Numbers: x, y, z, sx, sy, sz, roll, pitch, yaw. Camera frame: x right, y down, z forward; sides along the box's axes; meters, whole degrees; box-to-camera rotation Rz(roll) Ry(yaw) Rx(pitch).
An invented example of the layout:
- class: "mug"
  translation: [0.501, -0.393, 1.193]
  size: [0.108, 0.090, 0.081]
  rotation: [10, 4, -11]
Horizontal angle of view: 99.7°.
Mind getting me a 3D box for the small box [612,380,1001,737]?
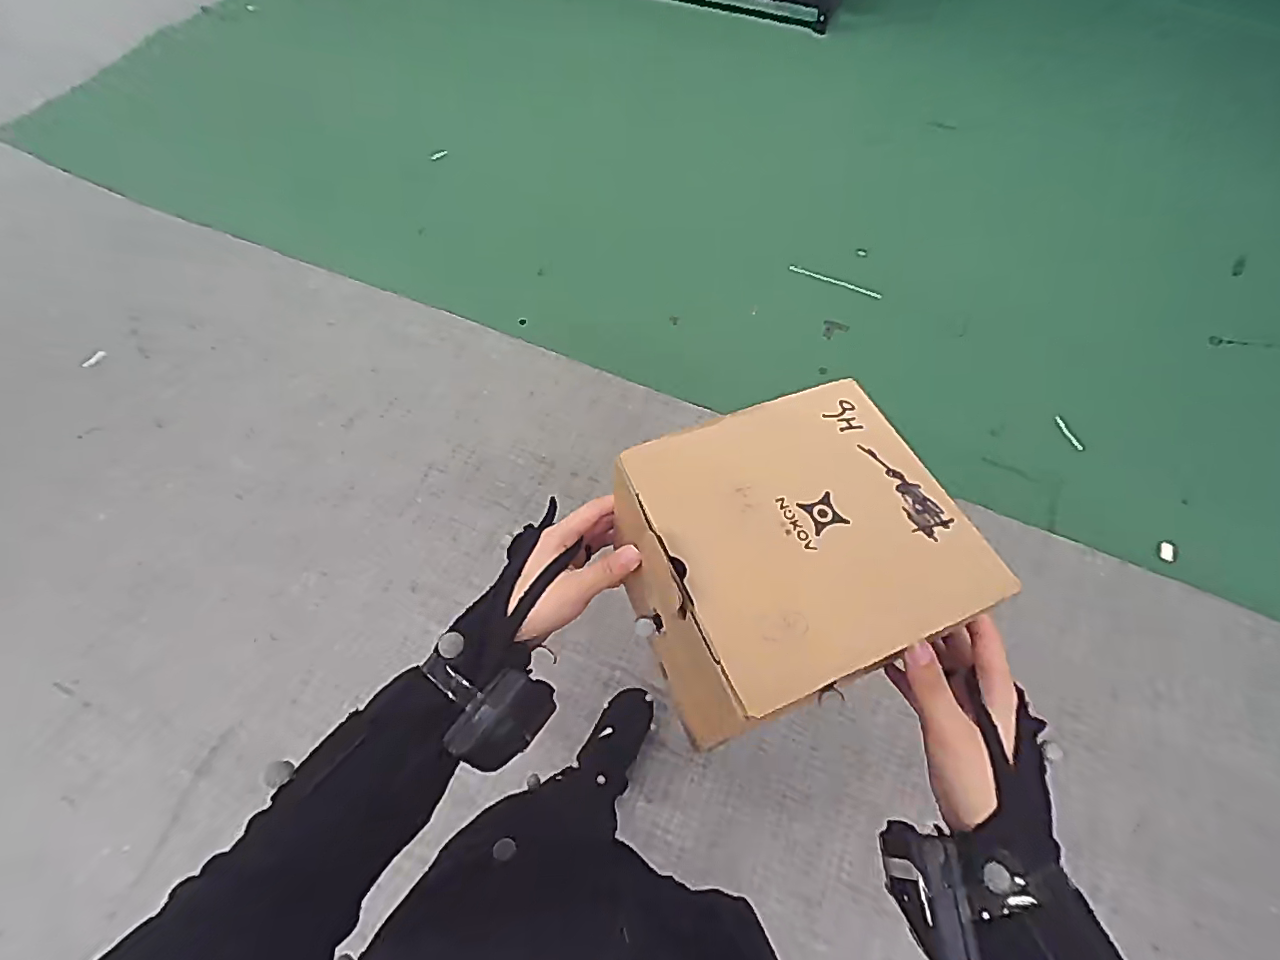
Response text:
- class: "small box"
  translation: [0.091, 0.064, 0.386]
  size: [0.179, 0.176, 0.168]
  rotation: [-19, 62, -13]
